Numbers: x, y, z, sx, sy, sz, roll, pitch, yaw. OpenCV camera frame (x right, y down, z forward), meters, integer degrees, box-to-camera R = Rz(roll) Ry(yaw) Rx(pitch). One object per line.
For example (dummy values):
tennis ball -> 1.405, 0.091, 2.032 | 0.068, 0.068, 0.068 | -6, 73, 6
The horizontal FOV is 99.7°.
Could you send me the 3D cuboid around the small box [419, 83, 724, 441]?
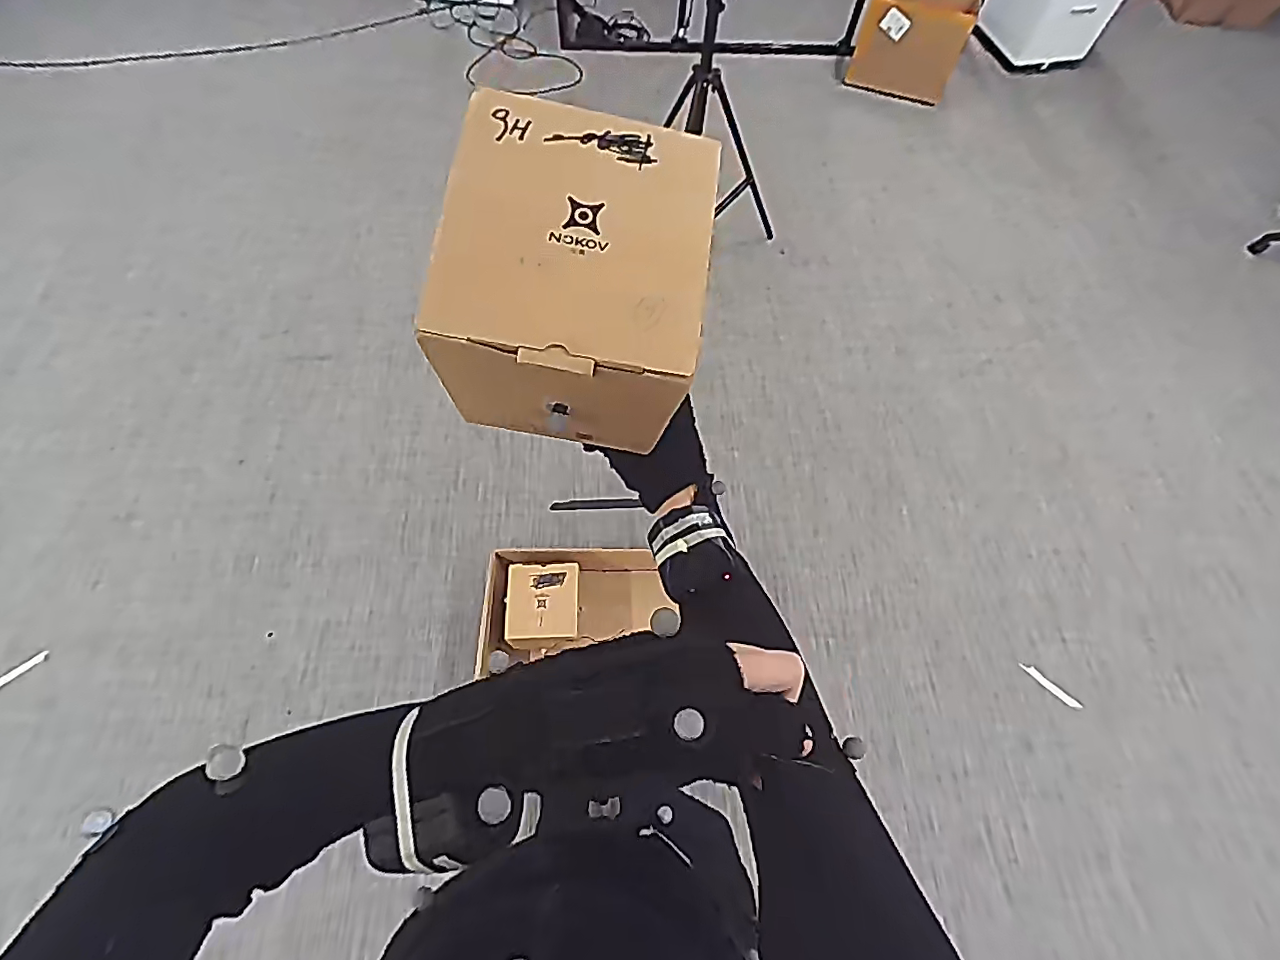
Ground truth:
small box -> -0.045, -0.140, 0.409 | 0.168, 0.176, 0.179 | 9, 77, -6
